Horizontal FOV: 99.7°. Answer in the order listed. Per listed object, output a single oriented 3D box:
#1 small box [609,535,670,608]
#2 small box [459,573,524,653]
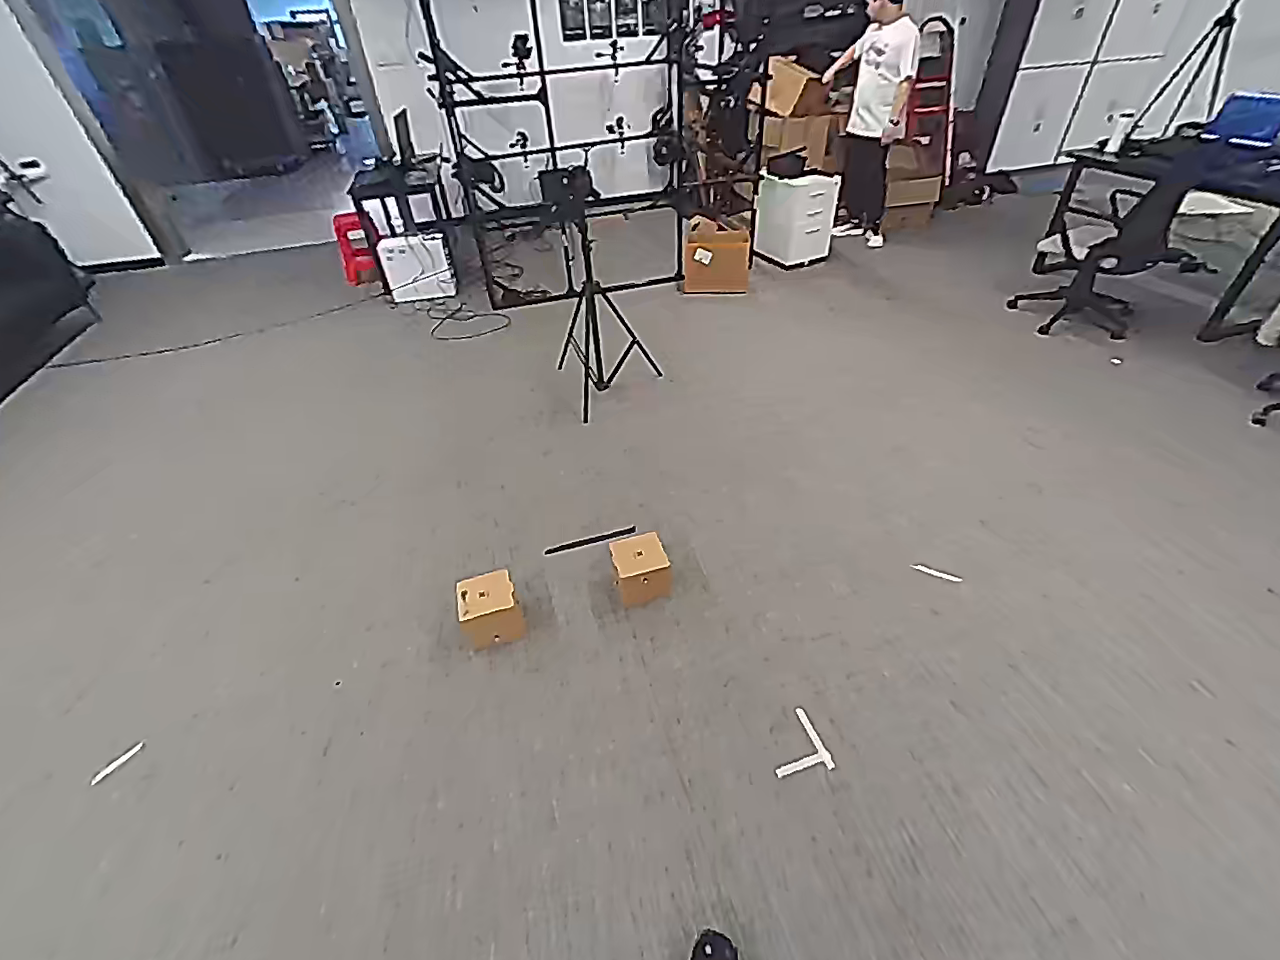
[{"bbox_3d":[0.000,0.322,1.883,0.179,0.176,0.168,-13,42,-12],"label":"small box"},{"bbox_3d":[-0.488,0.441,1.788,0.179,0.176,0.168,-14,41,-11],"label":"small box"}]
